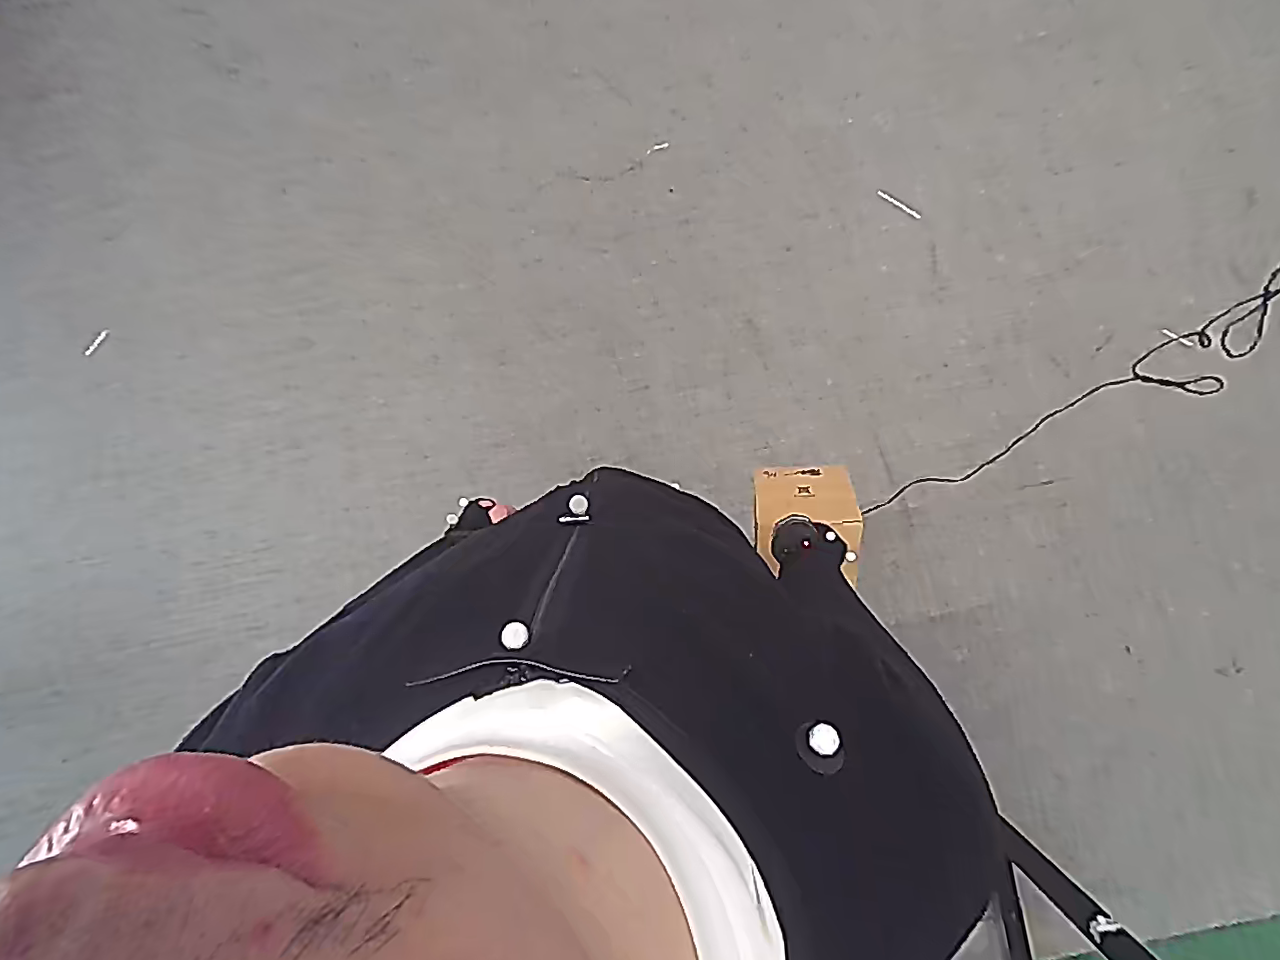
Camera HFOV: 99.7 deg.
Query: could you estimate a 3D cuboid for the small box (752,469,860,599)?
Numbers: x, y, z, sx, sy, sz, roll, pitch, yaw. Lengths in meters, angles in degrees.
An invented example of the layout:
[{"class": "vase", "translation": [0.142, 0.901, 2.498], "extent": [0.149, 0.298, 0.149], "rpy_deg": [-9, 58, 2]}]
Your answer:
[{"class": "small box", "translation": [0.293, 0.099, 0.976], "extent": [0.168, 0.179, 0.176], "rpy_deg": [-3, 122, 11]}]
